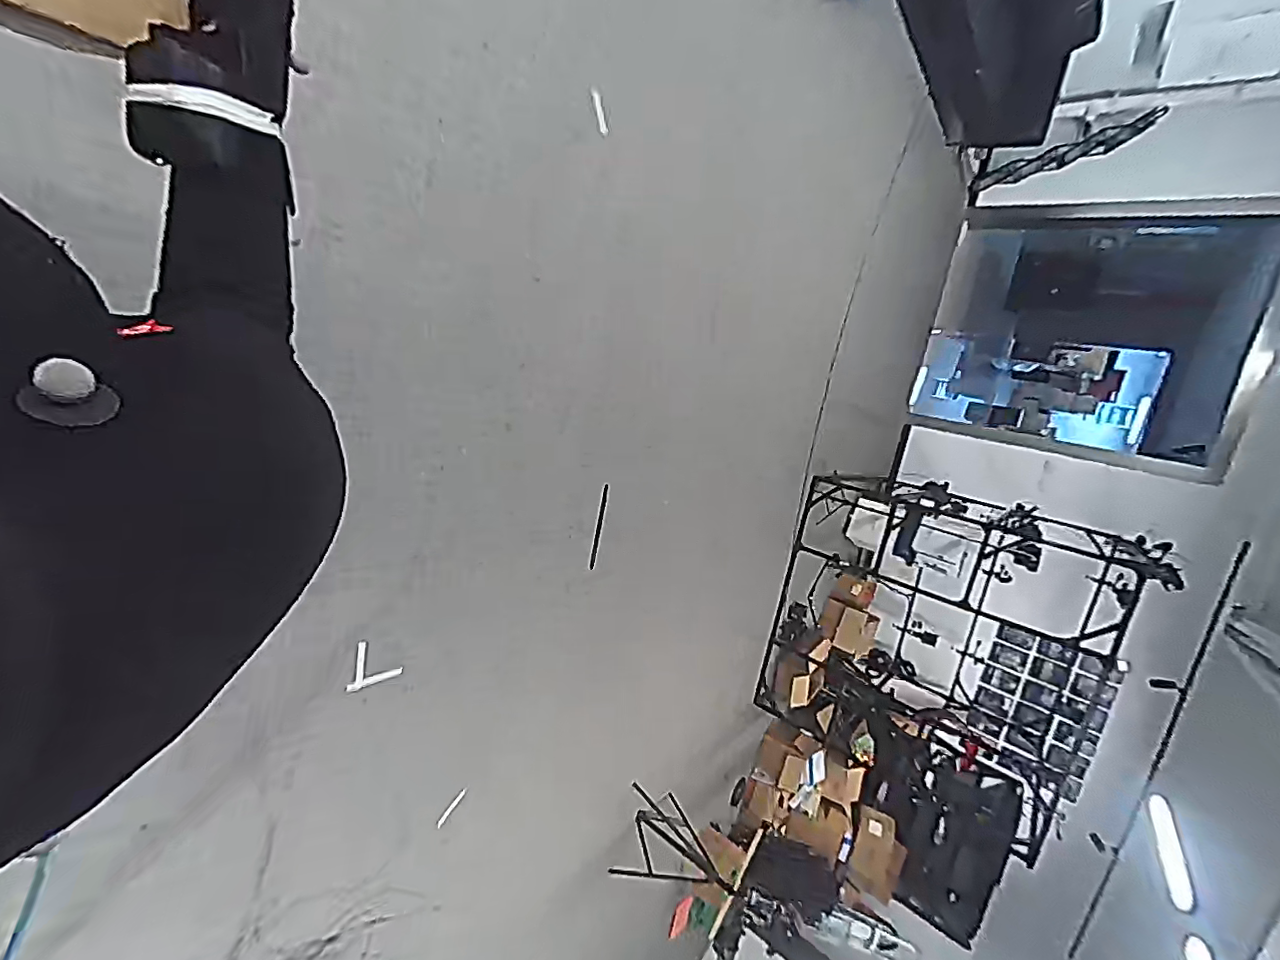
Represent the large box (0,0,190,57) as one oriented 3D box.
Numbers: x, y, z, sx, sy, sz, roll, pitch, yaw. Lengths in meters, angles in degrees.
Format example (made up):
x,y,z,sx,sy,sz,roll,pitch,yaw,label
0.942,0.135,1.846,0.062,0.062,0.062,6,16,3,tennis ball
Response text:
x,y,z,sx,sy,sz,roll,pitch,yaw,label
-0.497,-0.462,0.232,0.408,0.320,0.320,-11,126,-54,large box
